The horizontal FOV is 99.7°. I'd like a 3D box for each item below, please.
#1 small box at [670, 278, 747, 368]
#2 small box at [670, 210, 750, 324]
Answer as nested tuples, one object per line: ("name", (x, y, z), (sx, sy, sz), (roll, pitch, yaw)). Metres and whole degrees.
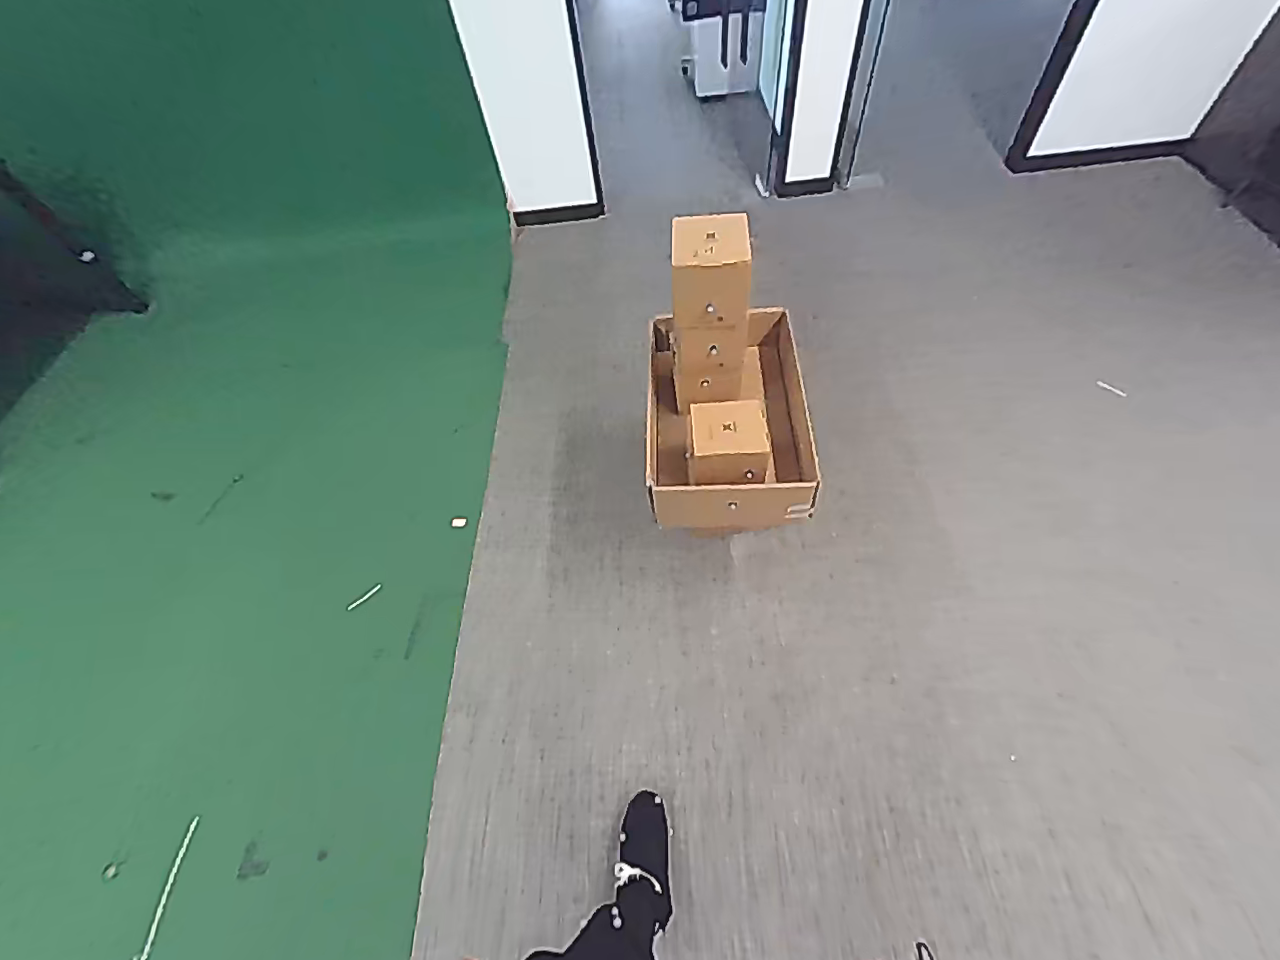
("small box", (0.170, -0.398, 1.359), (0.168, 0.176, 0.179), (-7, 57, 2))
("small box", (0.156, -0.474, 1.212), (0.168, 0.176, 0.179), (-1, 58, 7))
